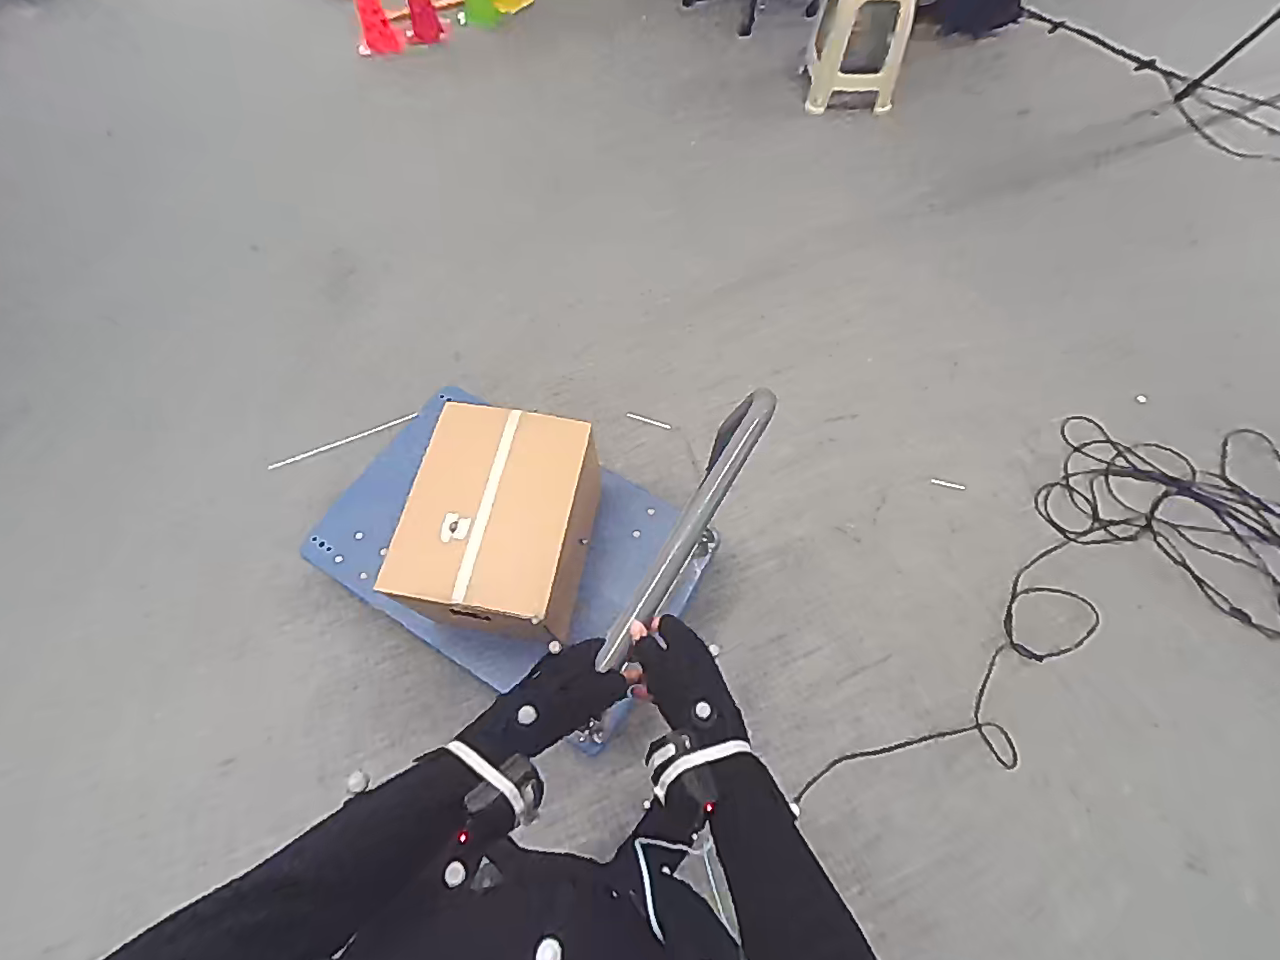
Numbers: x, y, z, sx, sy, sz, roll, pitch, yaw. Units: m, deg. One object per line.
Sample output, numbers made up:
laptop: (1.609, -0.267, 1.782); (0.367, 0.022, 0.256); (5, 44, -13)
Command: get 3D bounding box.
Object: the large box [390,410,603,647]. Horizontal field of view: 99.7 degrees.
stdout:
large box: (-0.268, 0.114, 1.167); (0.320, 0.320, 0.408); (9, 66, 5)
